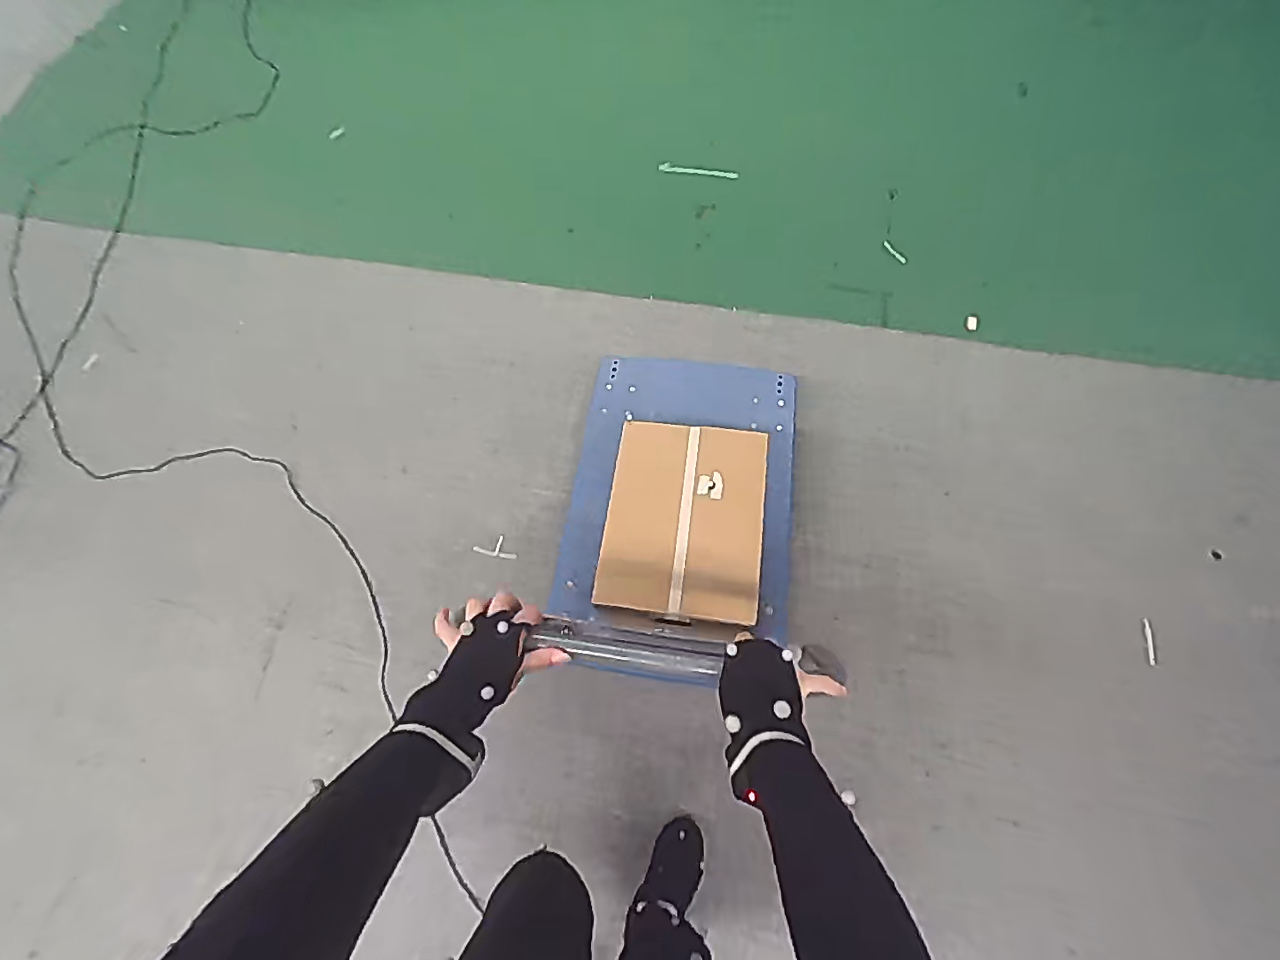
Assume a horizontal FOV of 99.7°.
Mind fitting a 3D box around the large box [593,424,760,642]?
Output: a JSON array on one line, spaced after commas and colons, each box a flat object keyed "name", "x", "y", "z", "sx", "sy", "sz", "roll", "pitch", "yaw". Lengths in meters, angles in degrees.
[{"name": "large box", "x": 0.094, "y": 0.131, "z": 1.236, "sx": 0.320, "sy": 0.320, "sz": 0.408, "roll": 6, "pitch": 66, "yaw": 6}]
